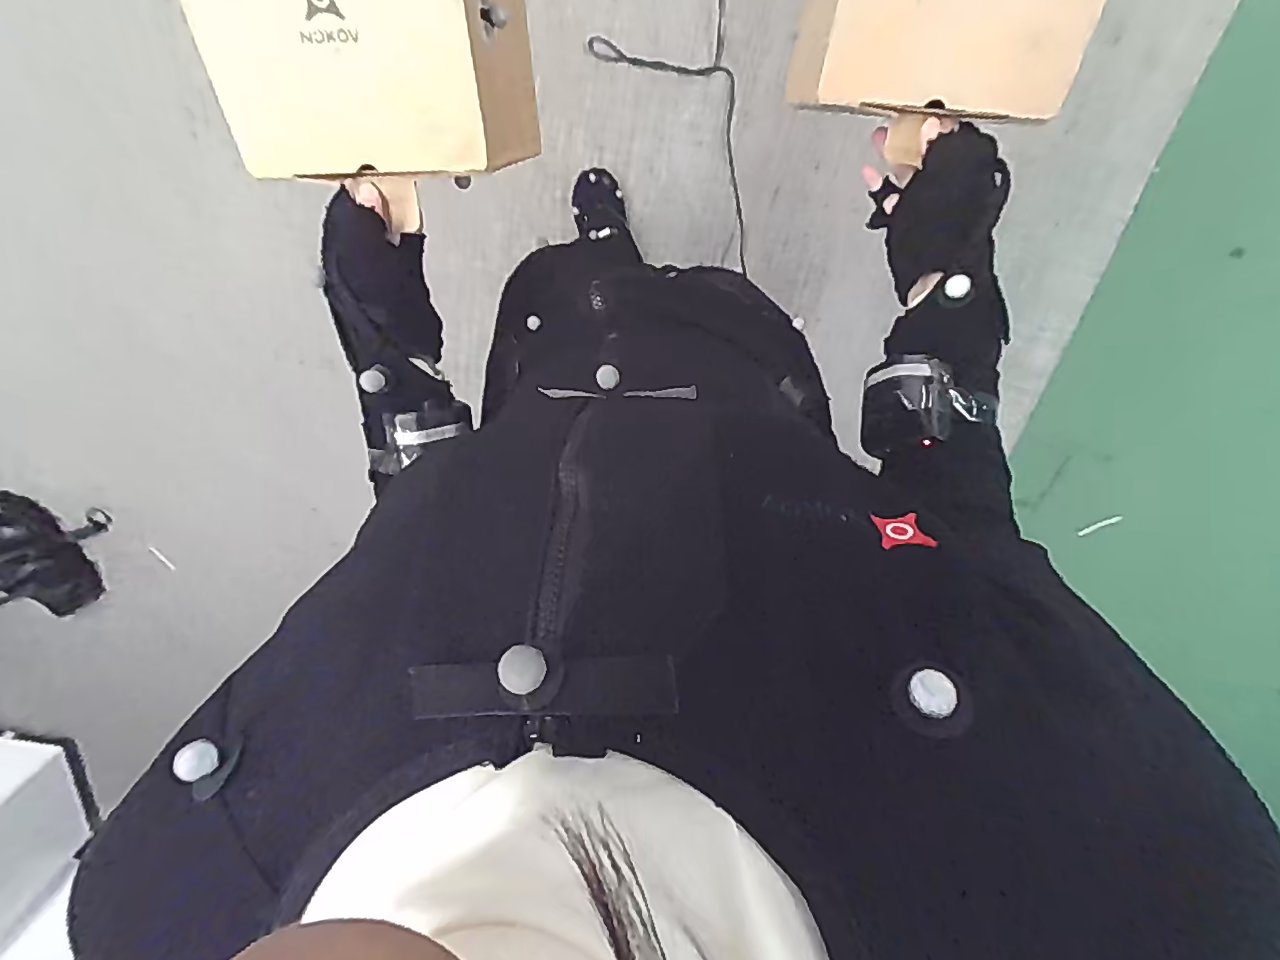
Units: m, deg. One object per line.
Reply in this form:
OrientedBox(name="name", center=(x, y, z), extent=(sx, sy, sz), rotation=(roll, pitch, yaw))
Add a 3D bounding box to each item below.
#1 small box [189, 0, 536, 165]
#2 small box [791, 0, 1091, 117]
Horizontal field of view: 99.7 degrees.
OrientedBox(name="small box", center=(-0.175, -0.326, 0.372), extent=(0.168, 0.176, 0.179), rotation=(0, 124, 3))
OrientedBox(name="small box", center=(0.217, -0.381, 0.399), extent=(0.168, 0.176, 0.179), rotation=(7, 124, 2))
